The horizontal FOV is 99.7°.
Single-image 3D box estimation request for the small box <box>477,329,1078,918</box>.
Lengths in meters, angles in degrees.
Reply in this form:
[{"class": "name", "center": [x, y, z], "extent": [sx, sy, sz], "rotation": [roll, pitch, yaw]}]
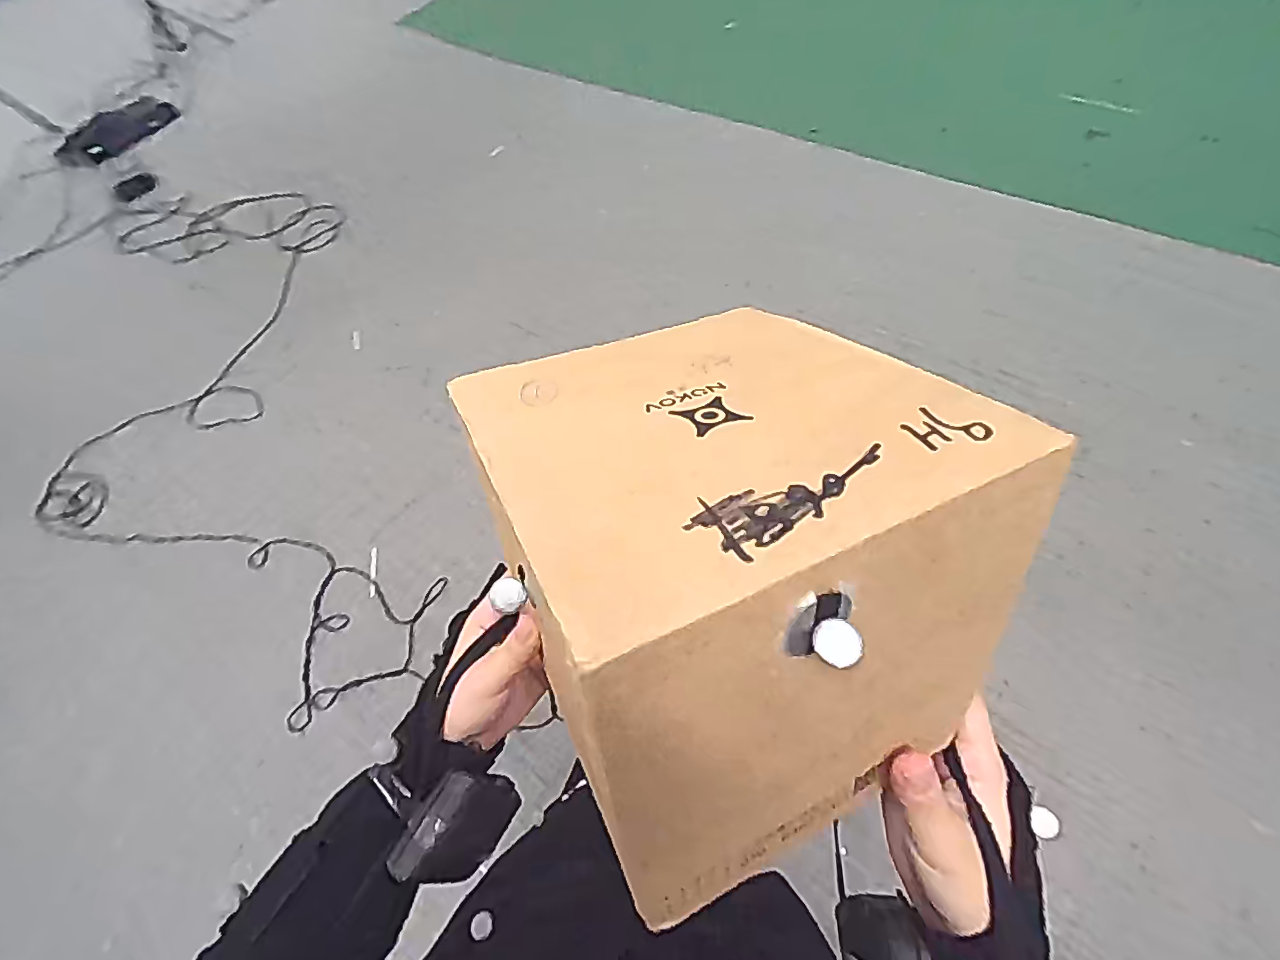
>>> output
[{"class": "small box", "center": [0.039, 0.048, 0.257], "extent": [0.168, 0.176, 0.179], "rotation": [-21, 37, -18]}]
